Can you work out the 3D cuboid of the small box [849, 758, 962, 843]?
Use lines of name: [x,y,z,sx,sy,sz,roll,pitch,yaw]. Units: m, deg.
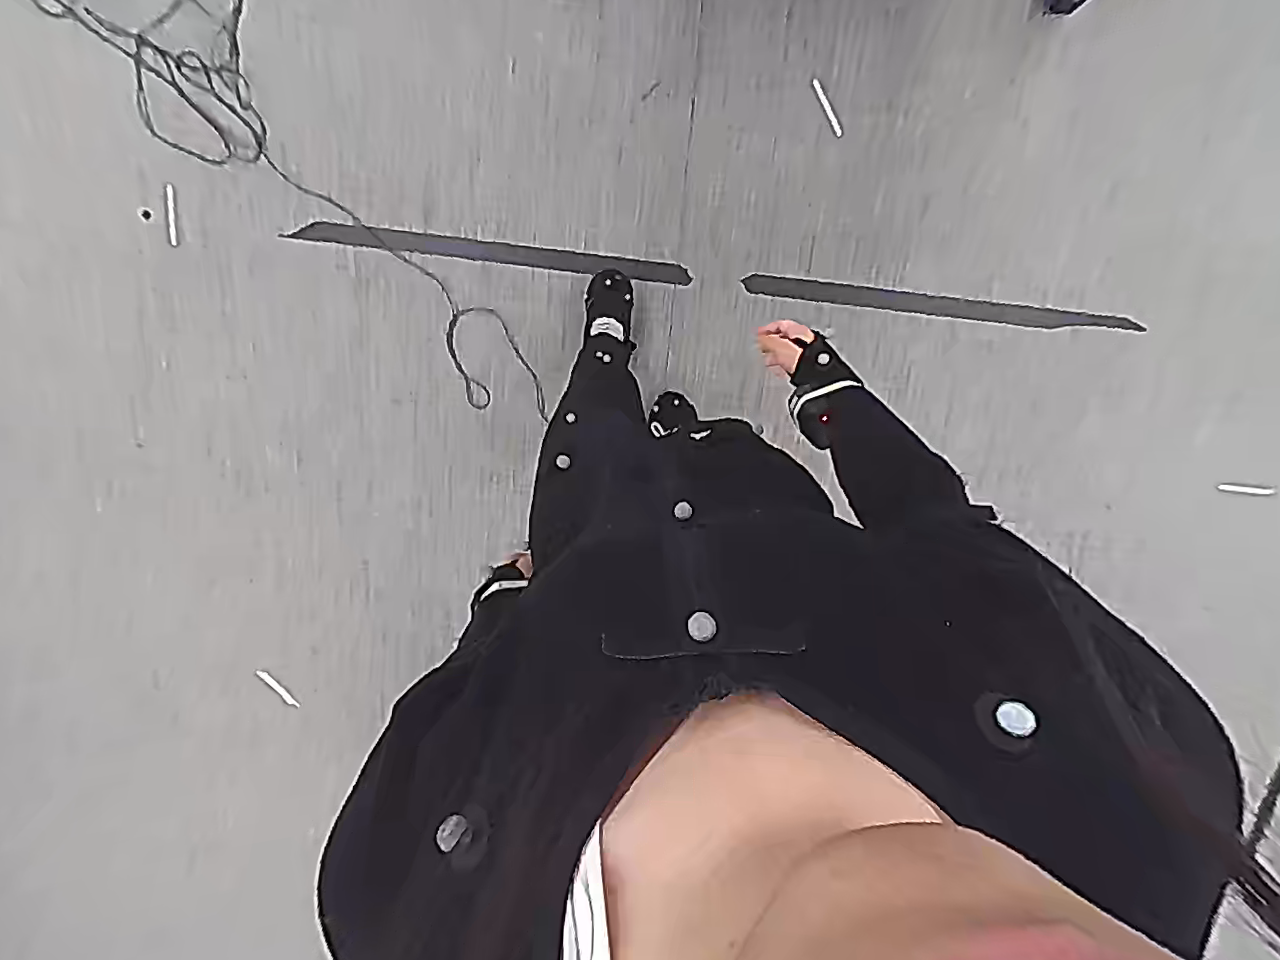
small box: [0.680,0.863,1.409,0.168,0.176,0.179,-41,101,10]
